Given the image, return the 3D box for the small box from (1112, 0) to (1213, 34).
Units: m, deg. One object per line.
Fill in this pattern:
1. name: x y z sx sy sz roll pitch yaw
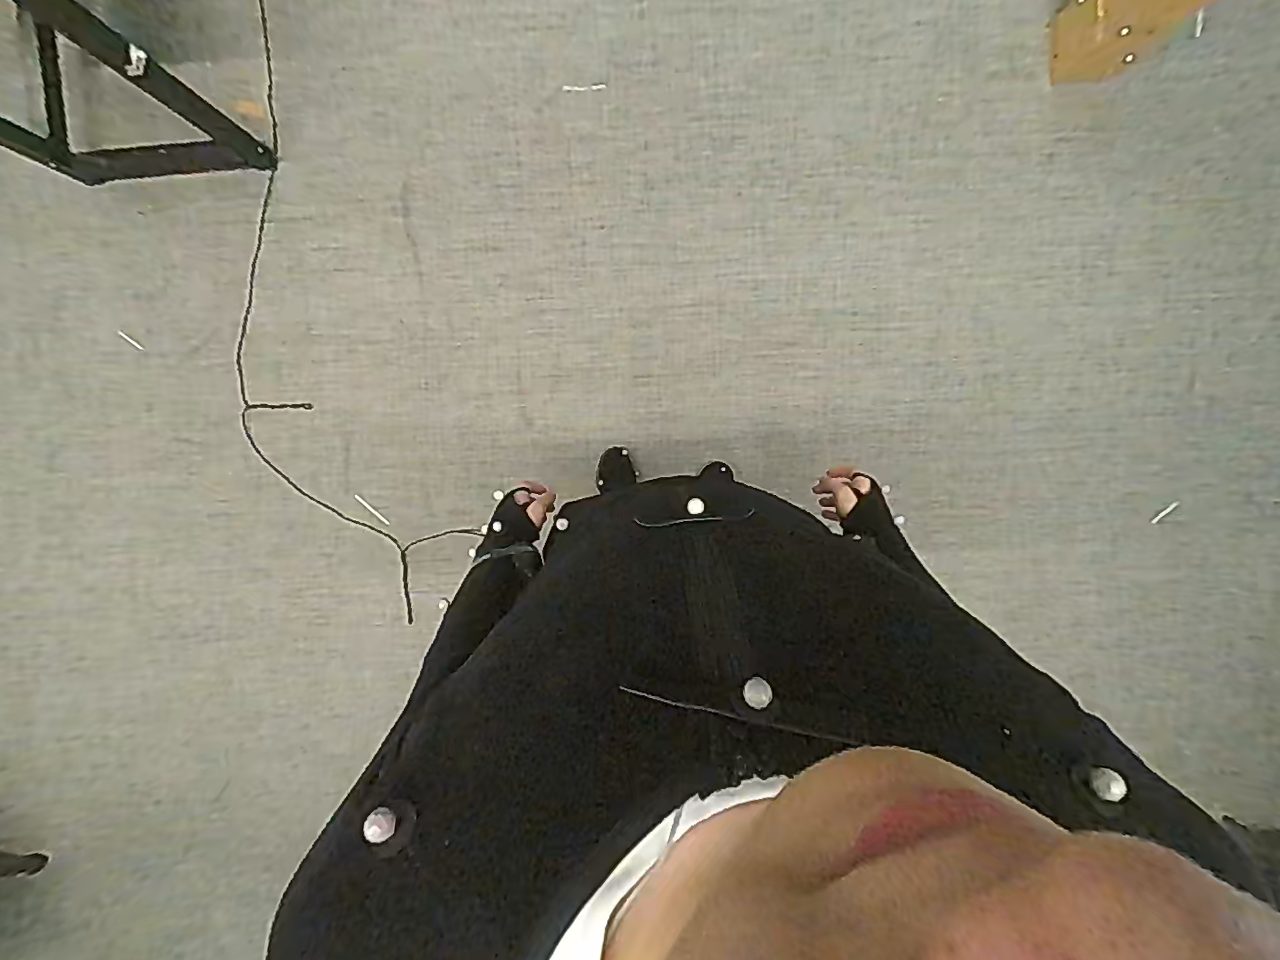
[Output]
1. small box: 1.273 -1.207 1.283 0.168 0.176 0.179 1 93 0
